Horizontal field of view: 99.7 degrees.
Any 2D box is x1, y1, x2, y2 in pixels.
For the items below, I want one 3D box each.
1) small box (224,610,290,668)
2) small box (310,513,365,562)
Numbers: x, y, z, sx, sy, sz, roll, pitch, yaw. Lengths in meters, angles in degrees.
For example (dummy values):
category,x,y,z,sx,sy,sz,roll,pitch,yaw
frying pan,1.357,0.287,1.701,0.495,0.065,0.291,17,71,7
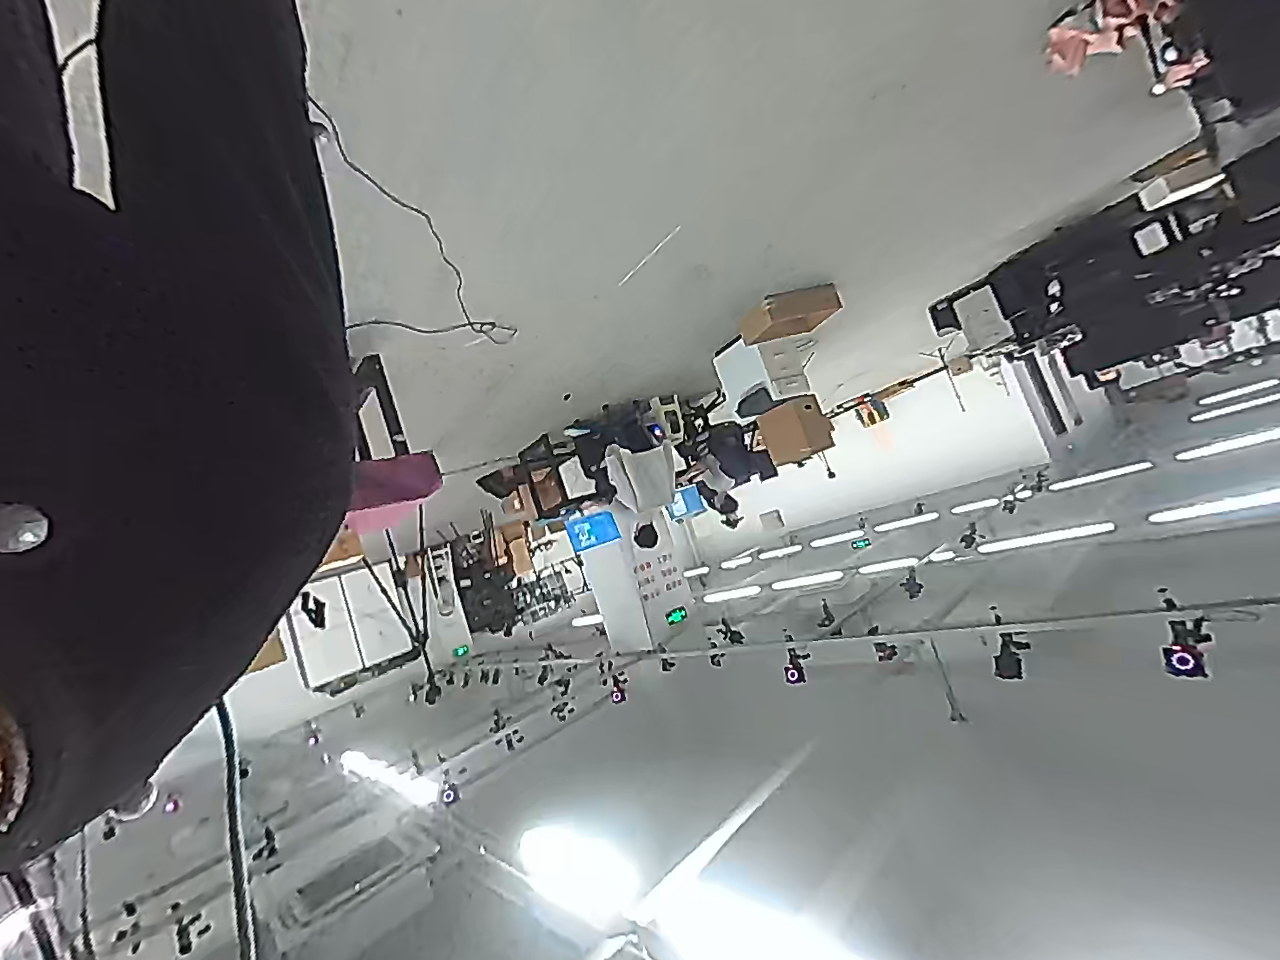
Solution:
category,x,y,z,sx,sy,sz,roll,pitch,yaw
small box,-1.536,0.633,2.161,0.179,0.176,0.168,-15,175,-44
small box,-1.379,0.256,2.454,0.168,0.176,0.179,-14,174,-42
